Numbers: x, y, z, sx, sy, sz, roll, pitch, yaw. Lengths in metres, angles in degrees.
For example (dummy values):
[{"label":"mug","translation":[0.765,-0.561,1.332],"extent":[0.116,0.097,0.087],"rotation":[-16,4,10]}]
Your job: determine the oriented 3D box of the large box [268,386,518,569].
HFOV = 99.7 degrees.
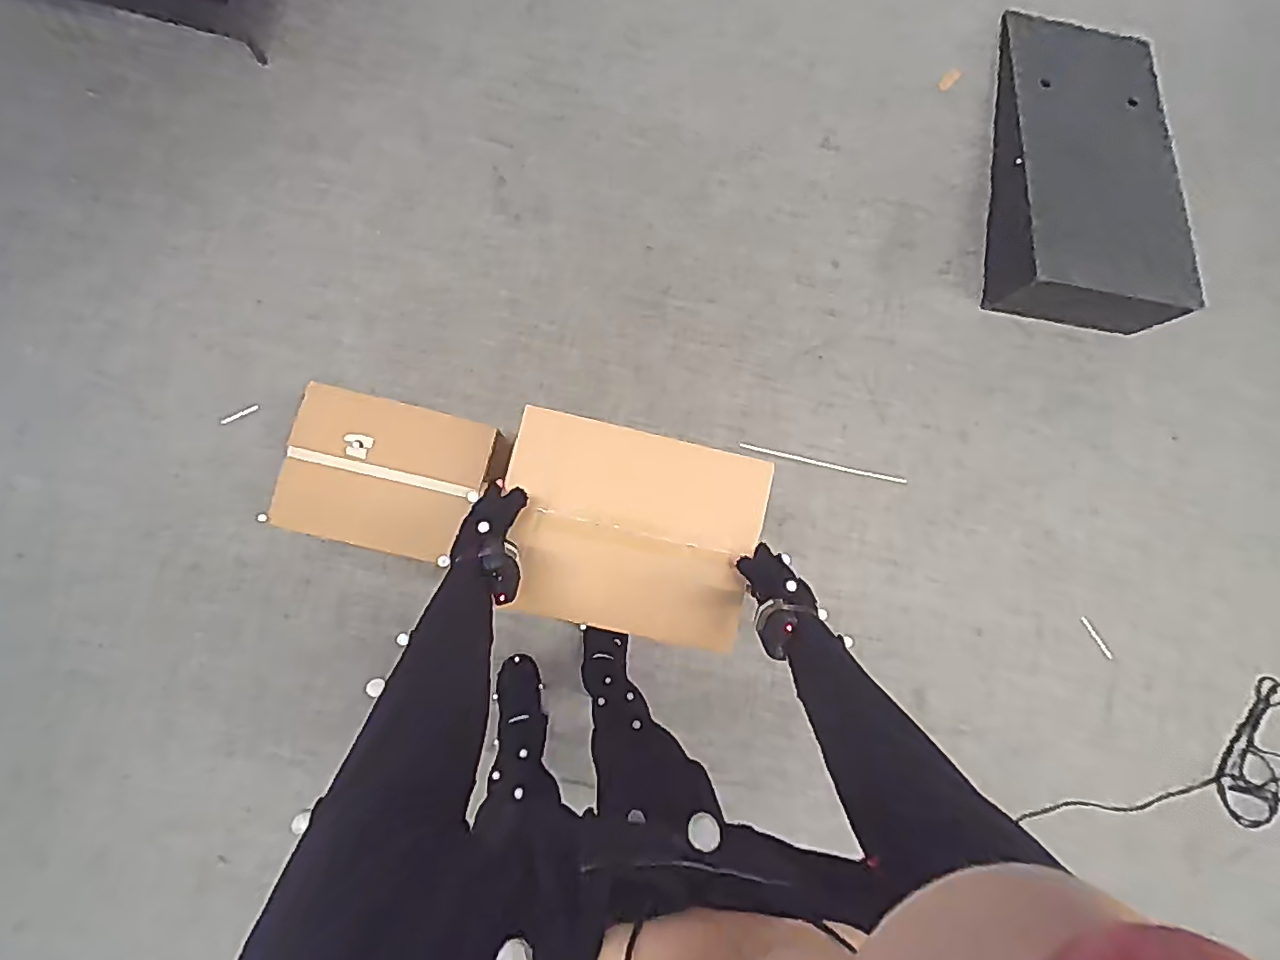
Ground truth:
[{"label":"large box","translation":[-0.535,0.008,1.262],"extent":[0.408,0.320,0.320],"rotation":[14,83,-2]}]
